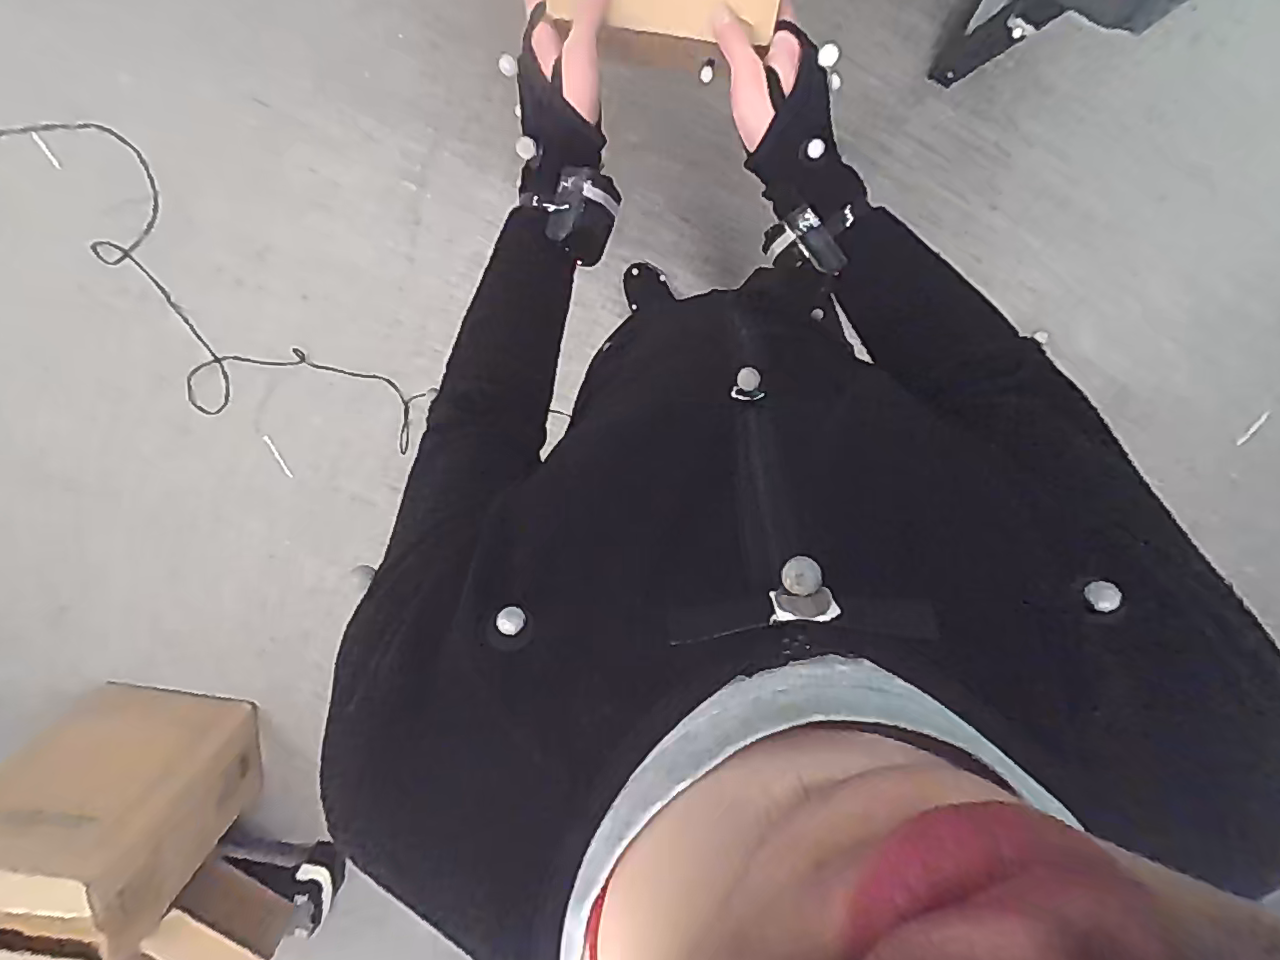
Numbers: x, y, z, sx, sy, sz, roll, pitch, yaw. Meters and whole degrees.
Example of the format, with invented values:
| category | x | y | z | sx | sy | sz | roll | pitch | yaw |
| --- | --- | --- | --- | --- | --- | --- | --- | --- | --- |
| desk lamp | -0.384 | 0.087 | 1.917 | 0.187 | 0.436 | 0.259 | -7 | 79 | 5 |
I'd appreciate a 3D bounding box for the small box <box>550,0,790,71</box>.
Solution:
| category | x | y | z | sx | sy | sz | roll | pitch | yaw |
| --- | --- | --- | --- | --- | --- | --- | --- | --- | --- |
| small box | 0.031 | -0.446 | 0.426 | 0.179 | 0.176 | 0.168 | 7 | 117 | -1 |
